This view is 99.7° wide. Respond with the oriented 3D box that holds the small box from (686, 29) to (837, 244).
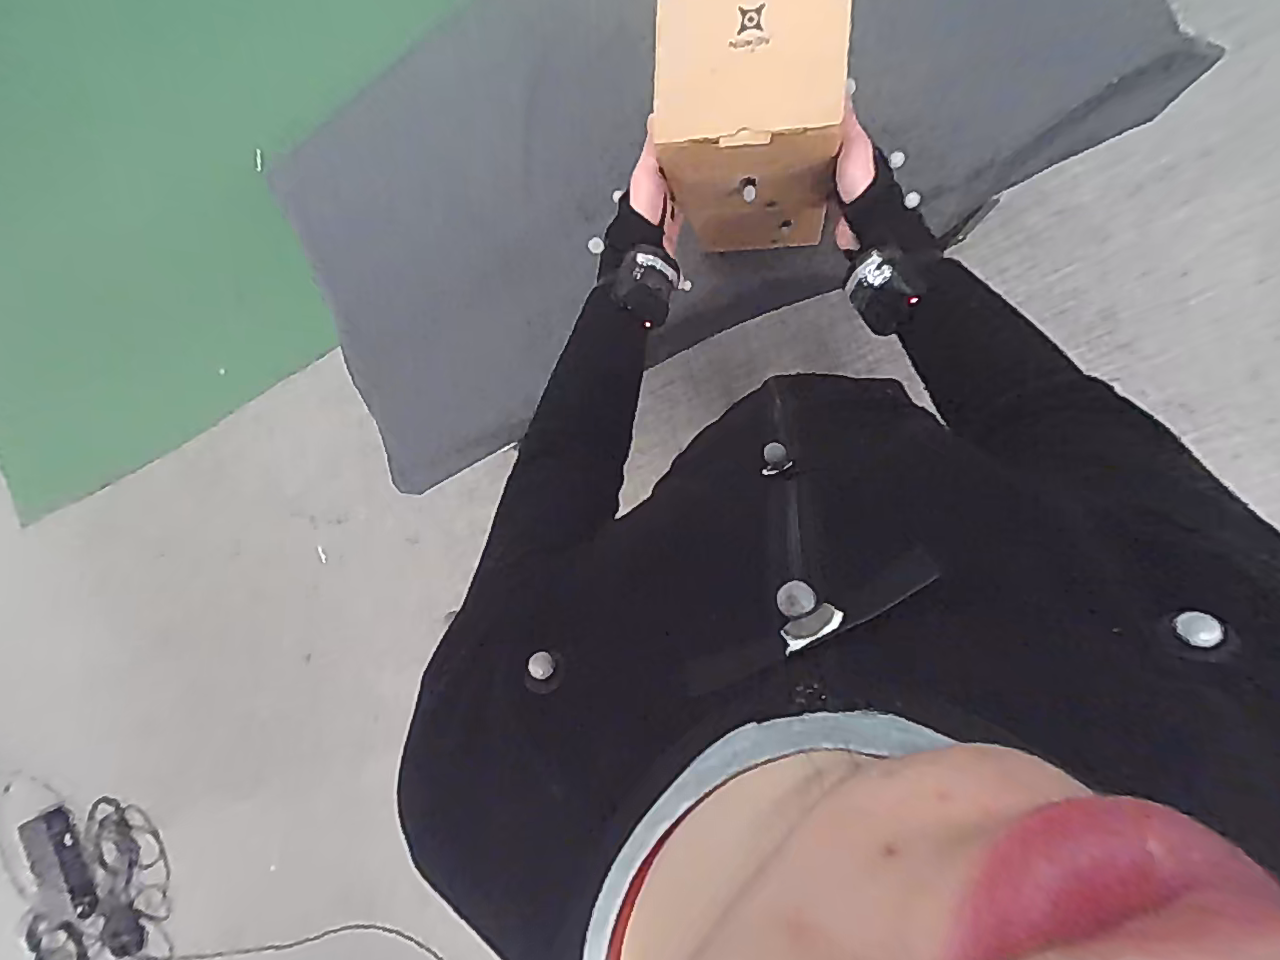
[{"bbox_3d":[0.156,-0.416,0.694,0.168,0.176,0.179,2,95,14],"label":"small box"}]
